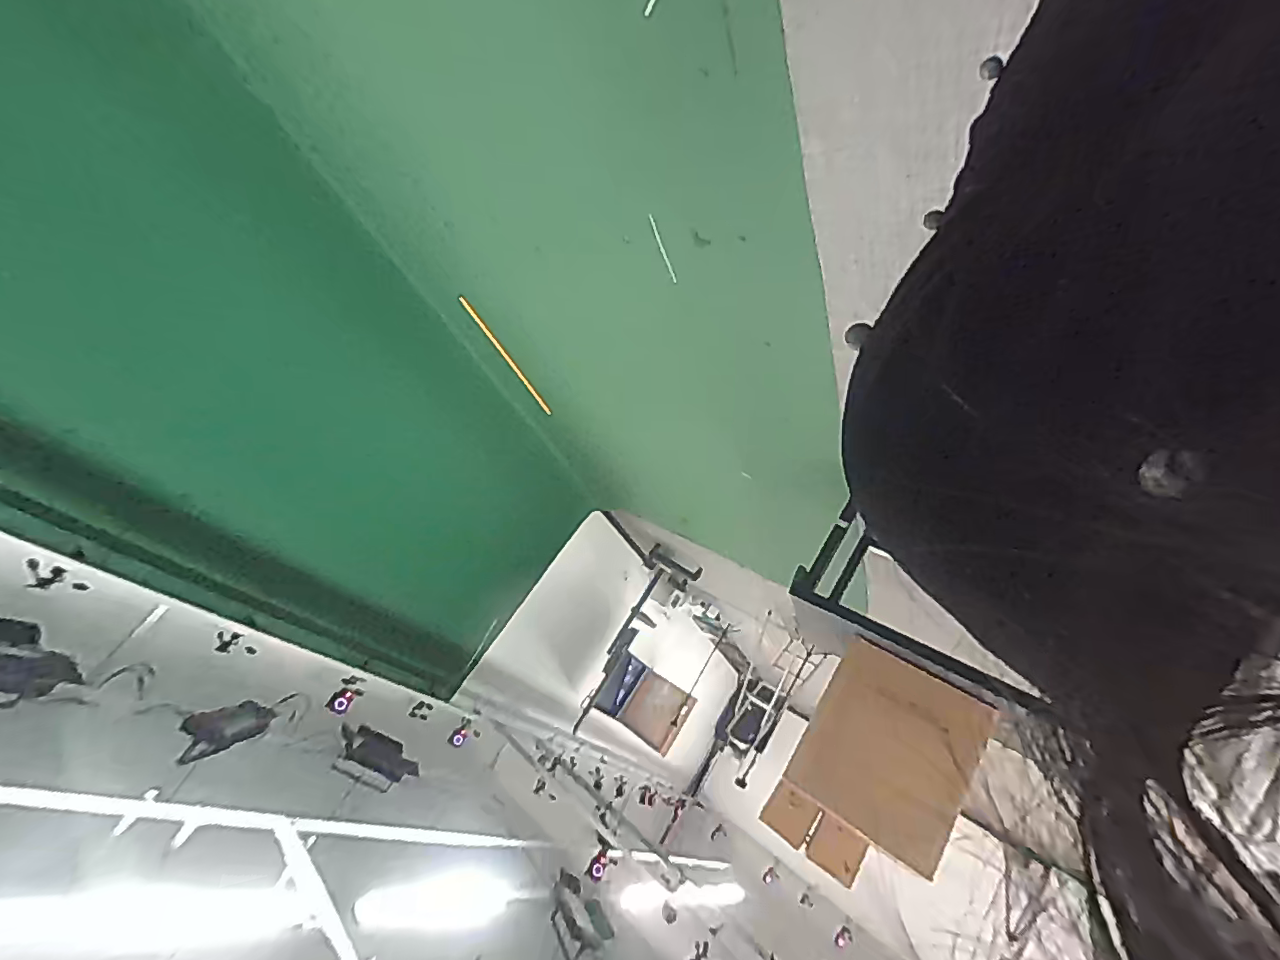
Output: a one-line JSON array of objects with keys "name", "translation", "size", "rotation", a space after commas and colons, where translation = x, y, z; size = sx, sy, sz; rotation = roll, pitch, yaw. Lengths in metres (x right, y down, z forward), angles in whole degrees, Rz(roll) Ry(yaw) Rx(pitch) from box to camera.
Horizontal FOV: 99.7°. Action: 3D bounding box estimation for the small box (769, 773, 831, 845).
[{"name": "small box", "translation": [0.615, 1.250, 2.062], "size": [0.168, 0.176, 0.179], "rotation": [26, 160, 31]}]
